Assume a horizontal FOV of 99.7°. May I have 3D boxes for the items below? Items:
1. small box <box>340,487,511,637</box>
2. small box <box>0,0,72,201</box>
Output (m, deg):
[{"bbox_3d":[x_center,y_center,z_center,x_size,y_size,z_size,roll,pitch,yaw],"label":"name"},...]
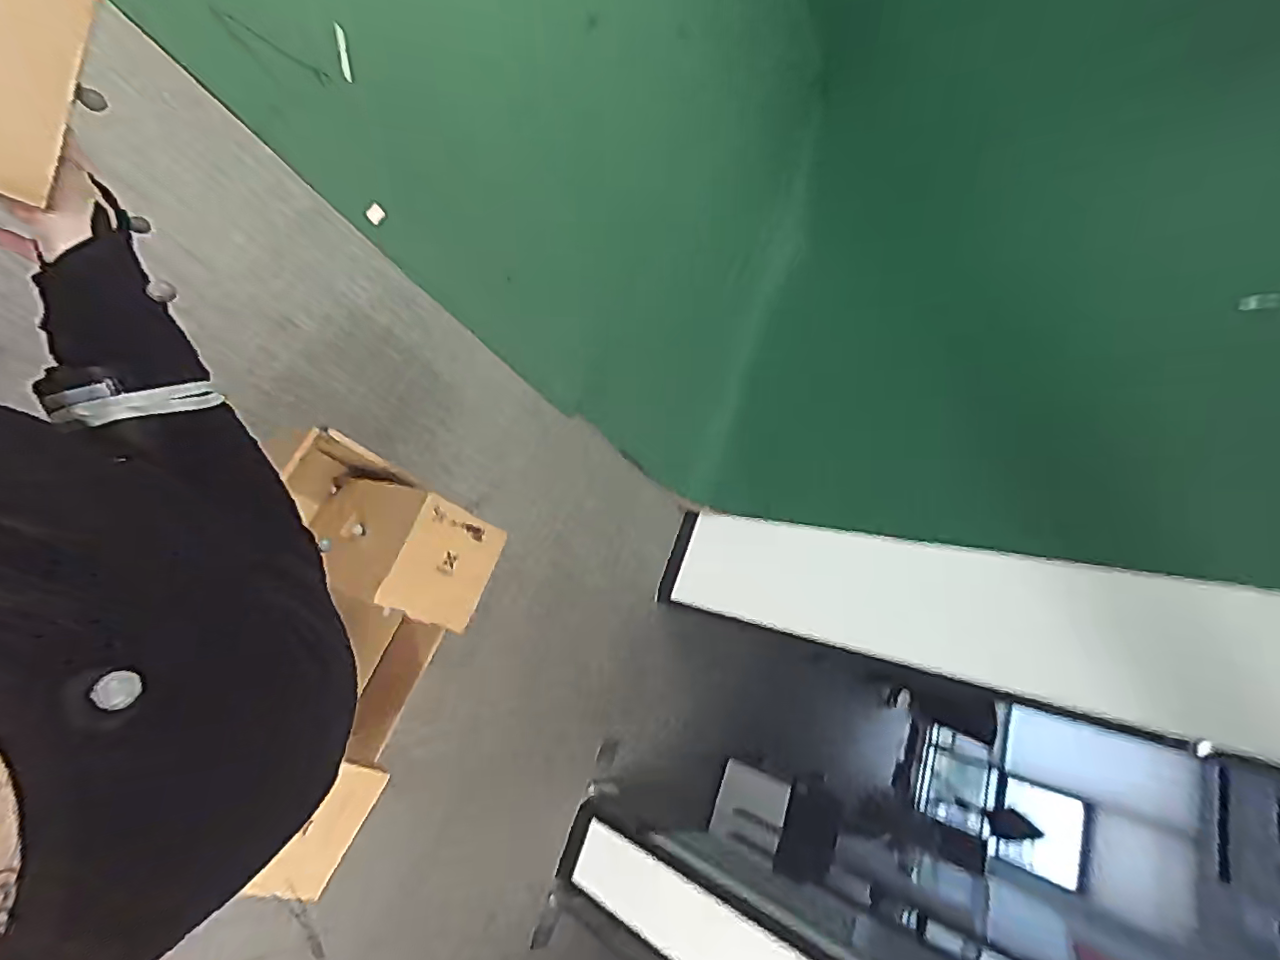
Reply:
[{"bbox_3d":[-0.350,0.128,0.875,0.168,0.176,0.179,42,64,-44],"label":"small box"},{"bbox_3d":[-0.425,-0.271,0.281,0.168,0.176,0.179,12,98,-52],"label":"small box"}]
